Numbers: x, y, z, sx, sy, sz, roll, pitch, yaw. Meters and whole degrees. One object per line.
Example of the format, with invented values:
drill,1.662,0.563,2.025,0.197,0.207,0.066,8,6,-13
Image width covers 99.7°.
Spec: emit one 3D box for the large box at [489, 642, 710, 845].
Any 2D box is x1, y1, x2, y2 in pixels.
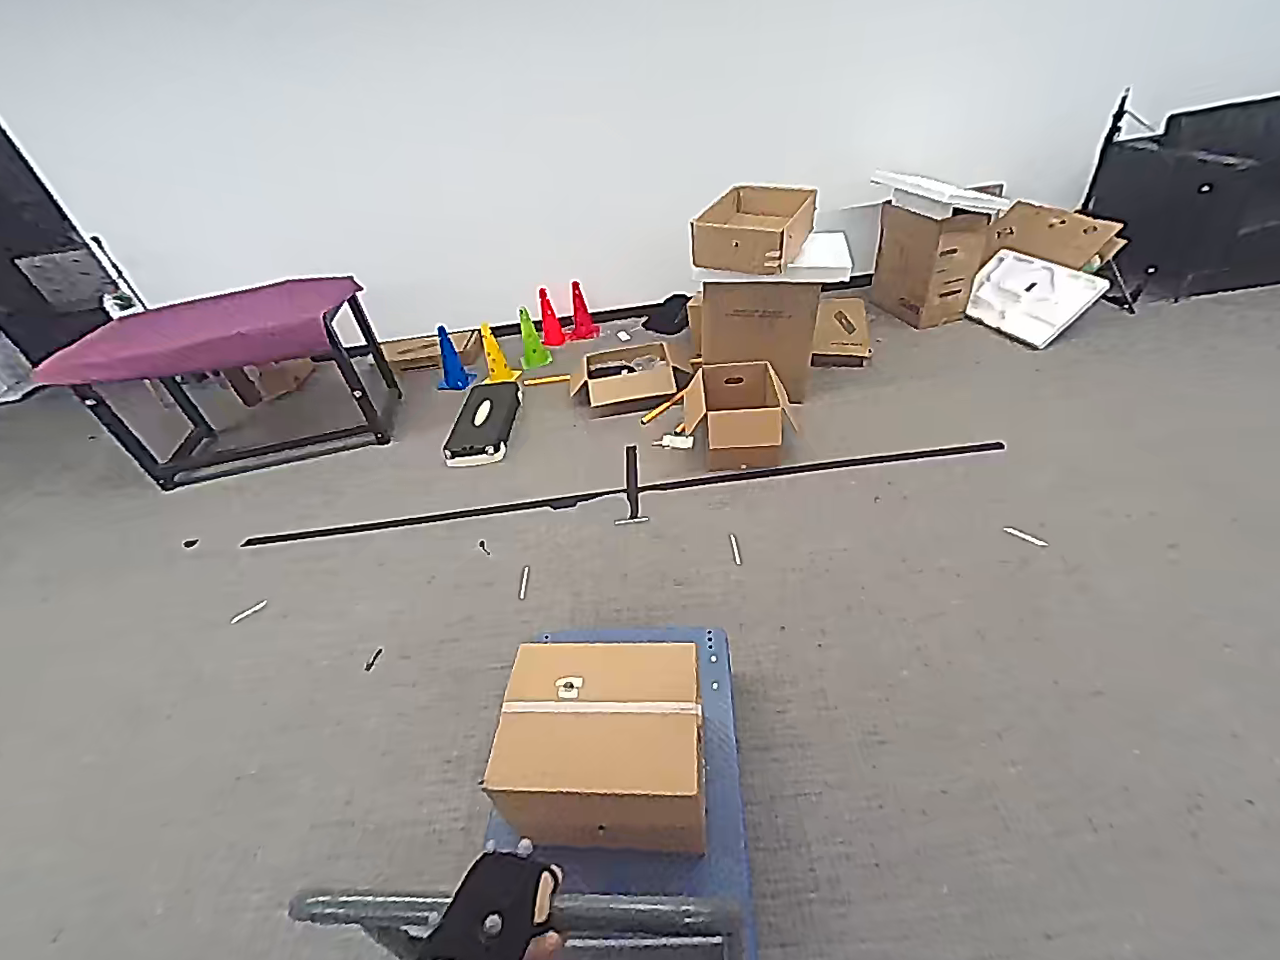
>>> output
large box,-0.061,0.586,1.201,0.408,0.320,0.320,-4,38,8
